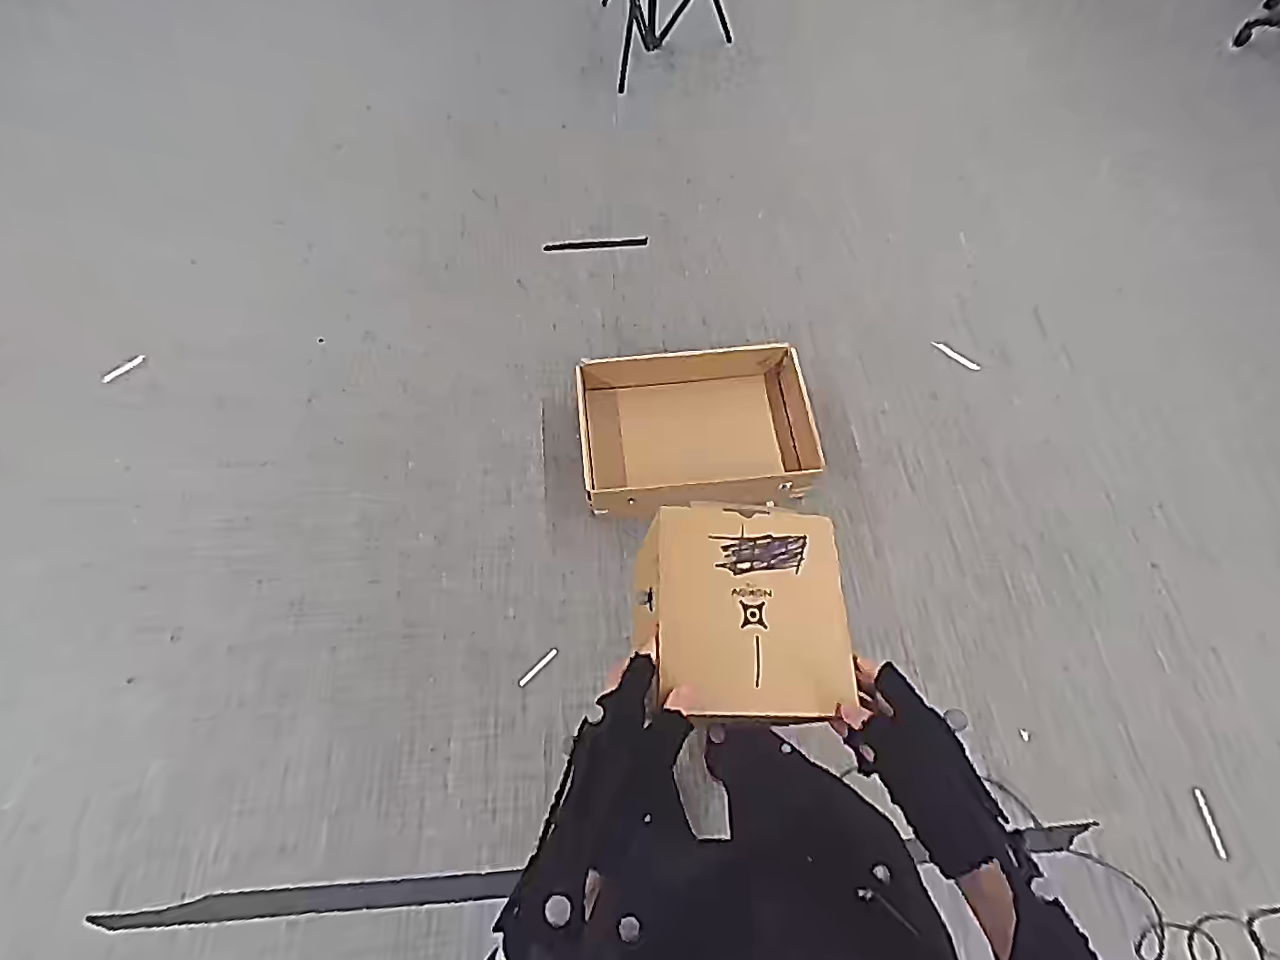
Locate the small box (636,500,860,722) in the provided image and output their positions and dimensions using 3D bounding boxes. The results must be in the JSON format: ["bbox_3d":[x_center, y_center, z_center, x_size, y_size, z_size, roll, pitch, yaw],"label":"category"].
[{"bbox_3d":[0.087,0.137,0.534,0.168,0.176,0.179,4,63,-6],"label":"small box"}]
